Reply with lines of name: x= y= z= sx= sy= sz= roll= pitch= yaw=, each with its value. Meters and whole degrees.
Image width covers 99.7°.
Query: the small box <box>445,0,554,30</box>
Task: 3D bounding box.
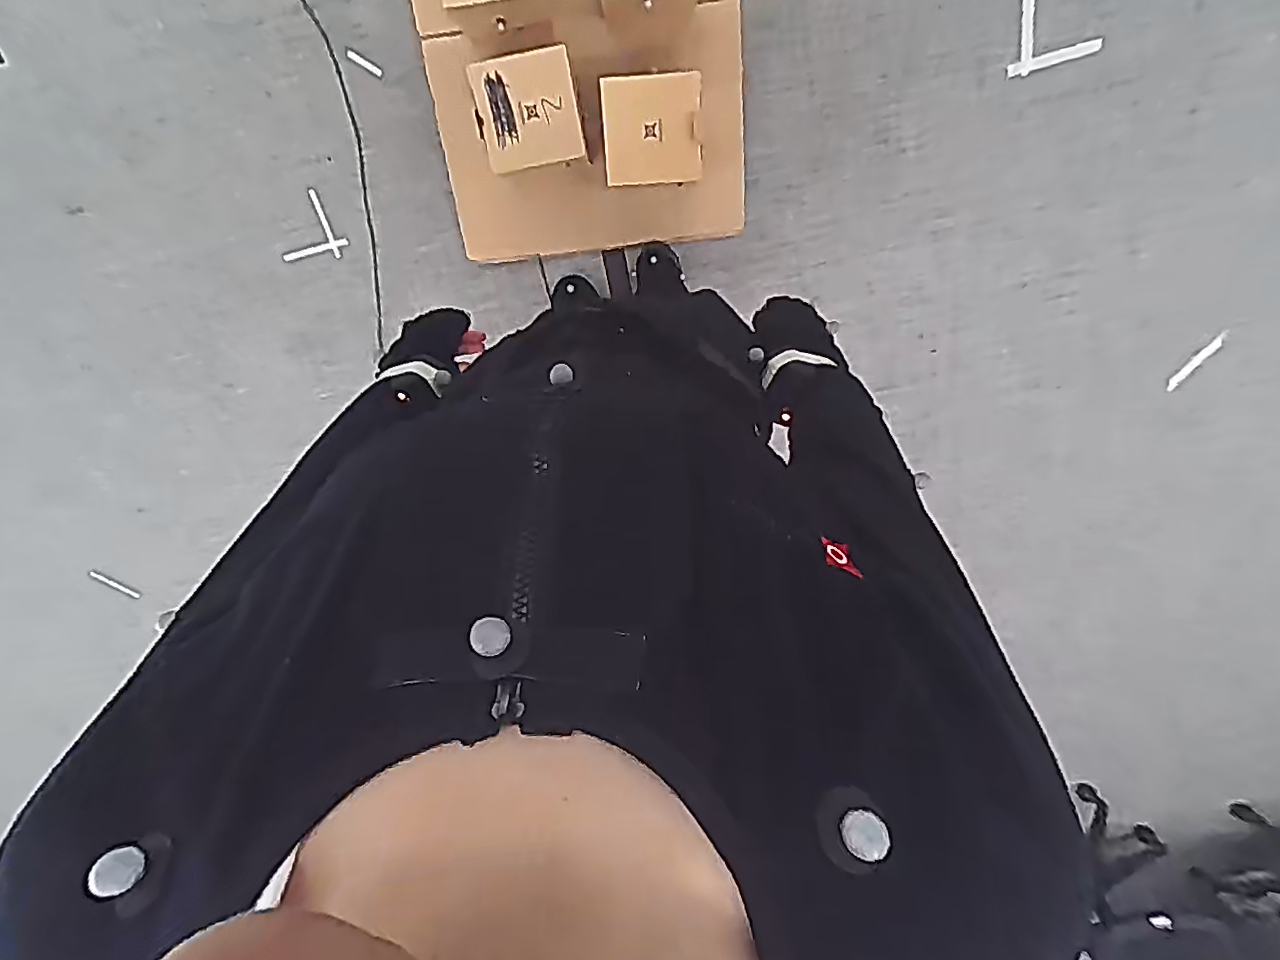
small box: x=-0.247 y=-0.896 z=0.915 sx=0.168 sy=0.176 sz=0.179 roll=-6 pitch=115 yaw=1

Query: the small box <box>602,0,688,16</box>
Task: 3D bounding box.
small box: x=0.011 y=-0.917 z=0.906 sx=0.179 sy=0.176 sz=0.168 roll=-7 pitch=115 yaw=3
